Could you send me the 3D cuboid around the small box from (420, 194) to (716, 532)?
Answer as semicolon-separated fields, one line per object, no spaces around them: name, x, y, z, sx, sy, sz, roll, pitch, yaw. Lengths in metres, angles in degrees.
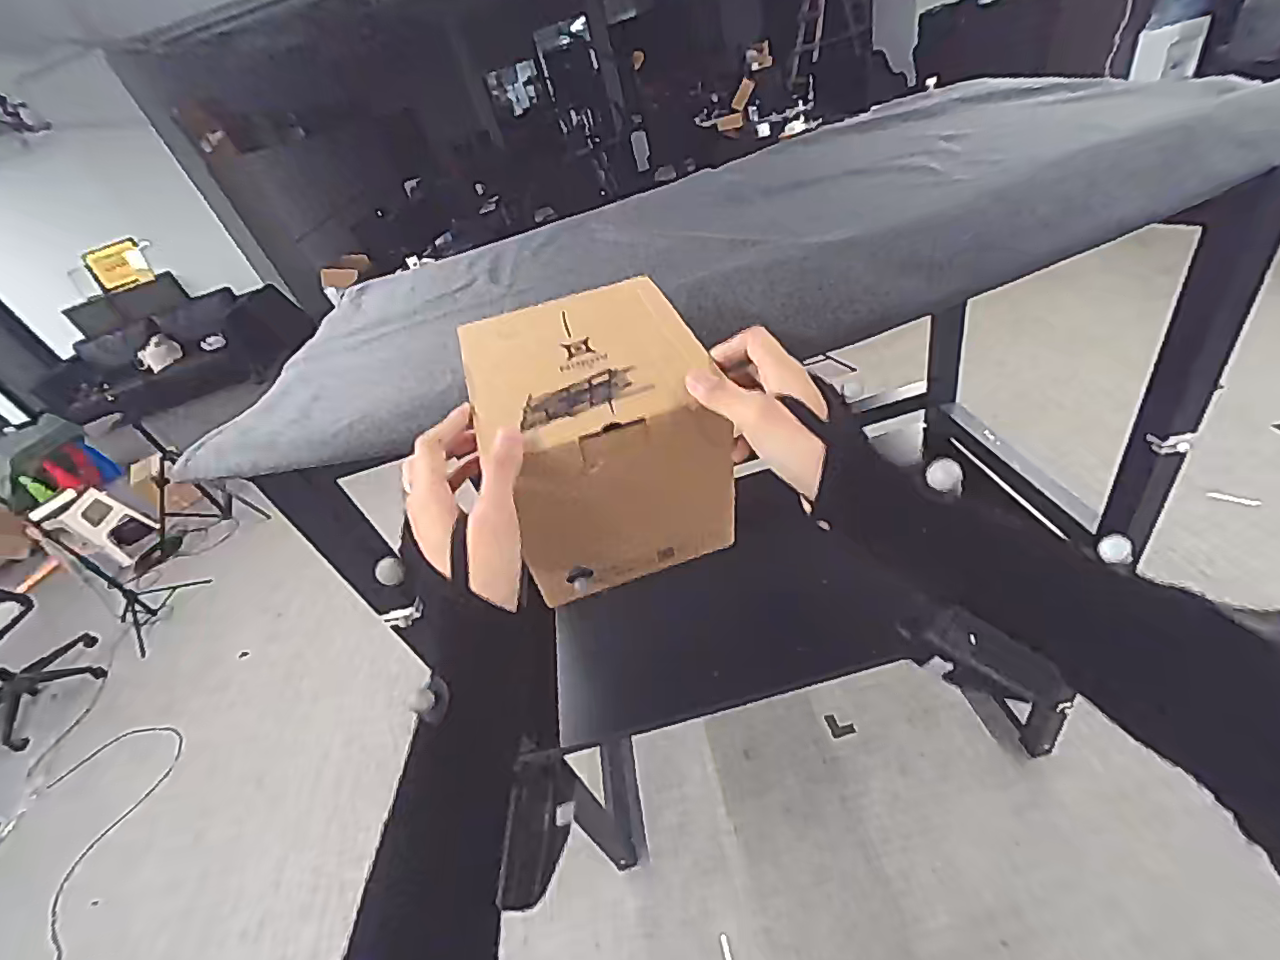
small box;-0.048;-0.082;0.408;0.168;0.176;0.179;-18;48;-8
